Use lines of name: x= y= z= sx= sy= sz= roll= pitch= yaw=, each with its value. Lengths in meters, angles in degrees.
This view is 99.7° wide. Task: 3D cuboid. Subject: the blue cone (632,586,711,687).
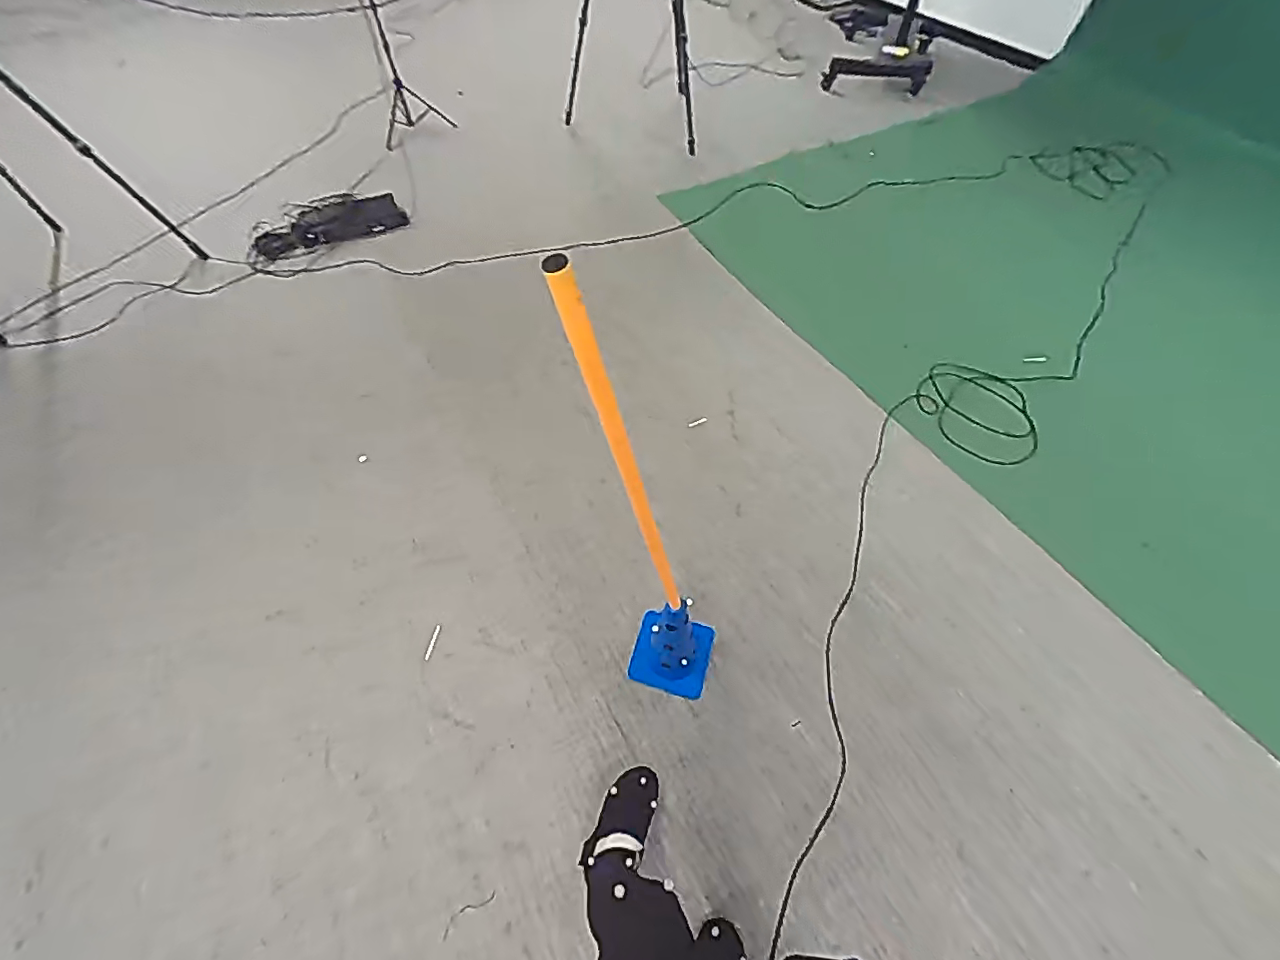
blue cone: x=0.076 y=0.348 z=1.284 sx=0.193 sy=0.380 sz=0.192 roll=11 pitch=58 yaw=10
